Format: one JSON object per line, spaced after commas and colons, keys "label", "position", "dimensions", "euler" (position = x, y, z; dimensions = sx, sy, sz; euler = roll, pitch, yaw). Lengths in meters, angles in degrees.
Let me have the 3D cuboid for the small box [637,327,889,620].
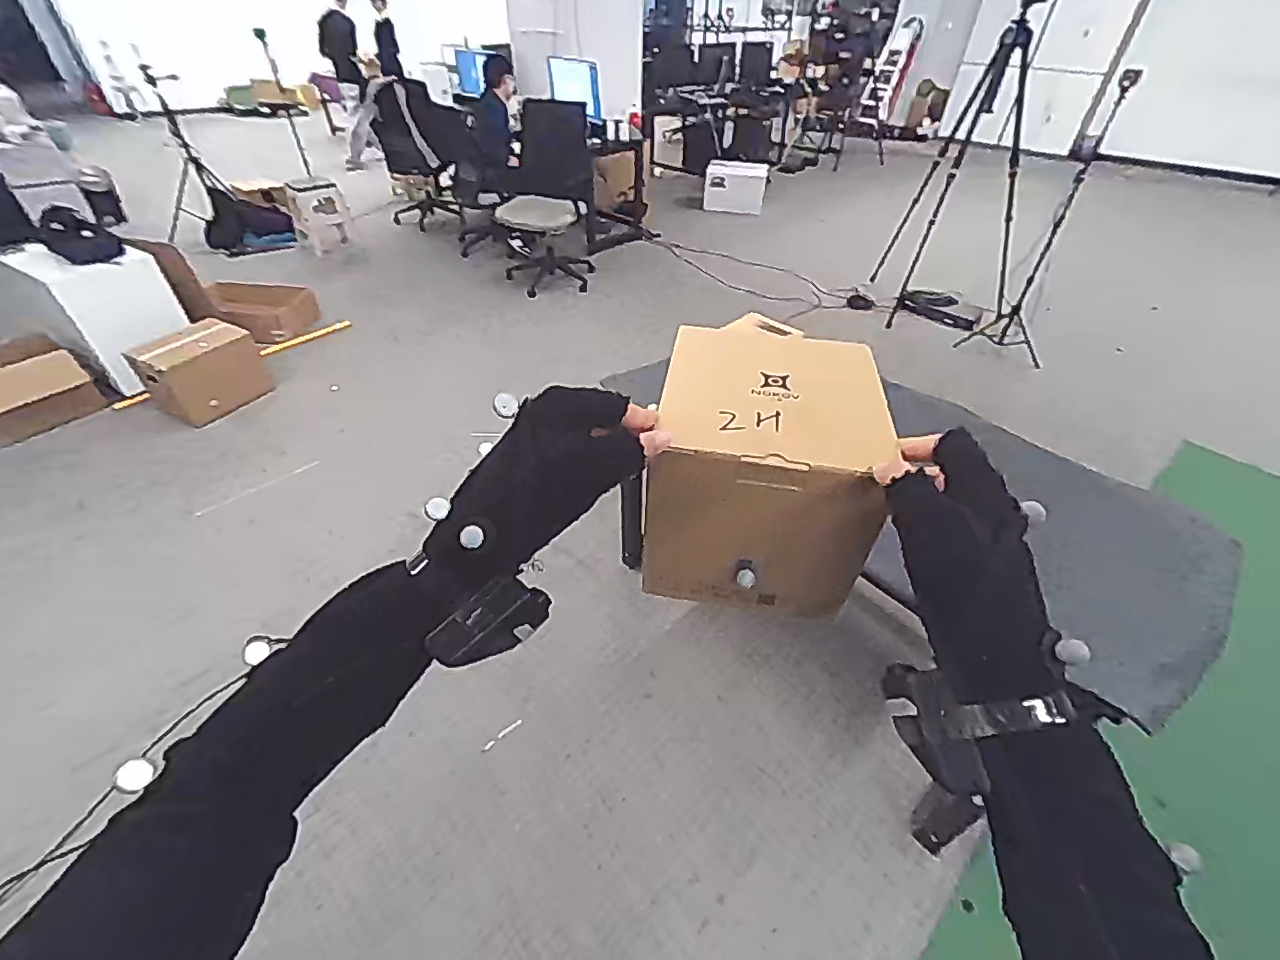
{"label": "small box", "position": [0.092, -0.009, 0.469], "dimensions": [0.168, 0.176, 0.179], "euler": [8, 43, 6]}
